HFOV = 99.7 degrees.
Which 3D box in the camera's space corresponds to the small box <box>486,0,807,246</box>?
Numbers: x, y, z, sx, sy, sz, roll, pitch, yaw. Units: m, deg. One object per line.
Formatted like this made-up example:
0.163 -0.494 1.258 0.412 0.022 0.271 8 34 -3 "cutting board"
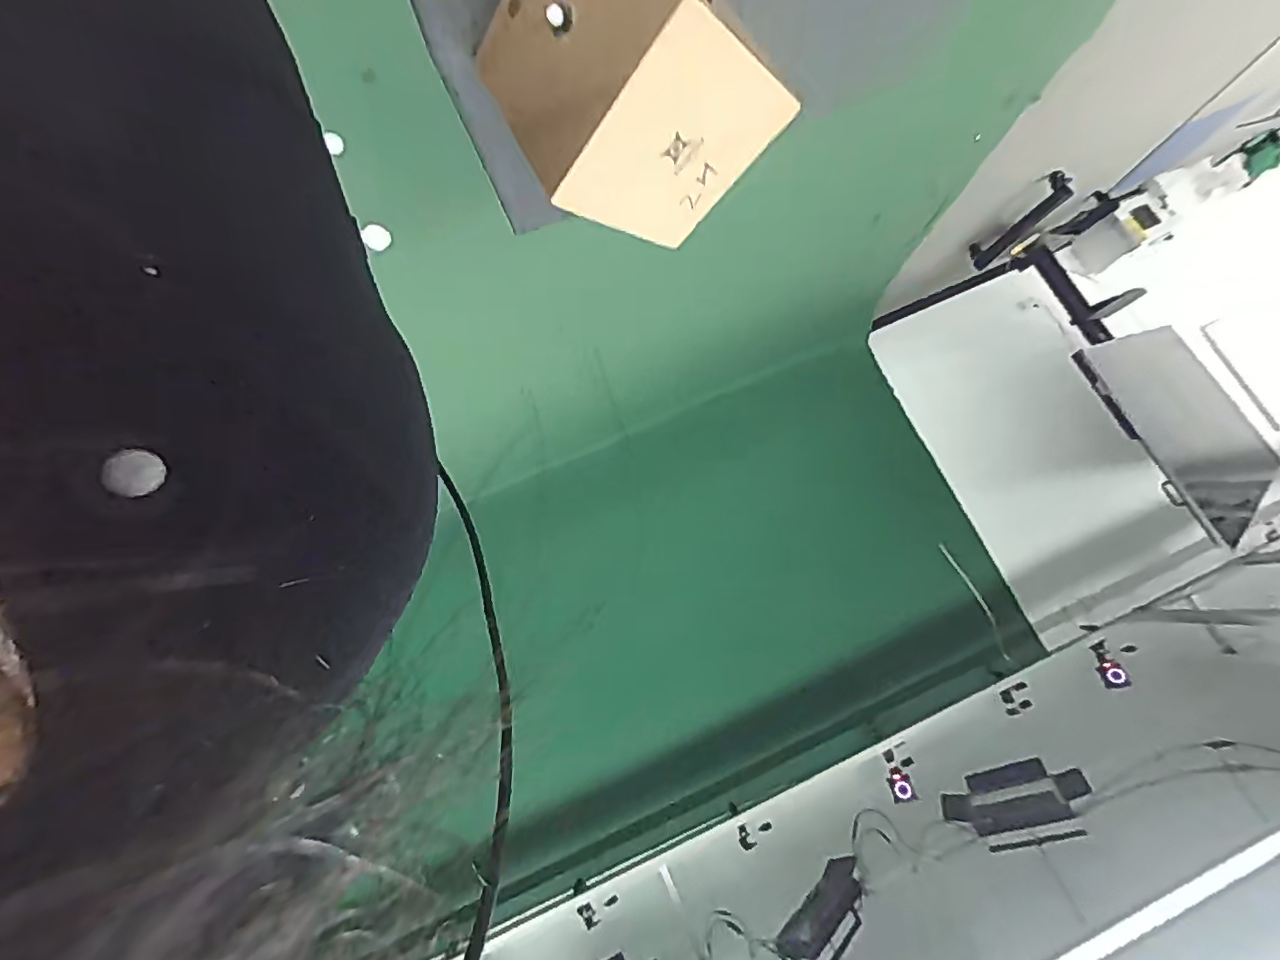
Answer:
0.001 -0.338 0.456 0.168 0.176 0.179 -37 163 37 "small box"
